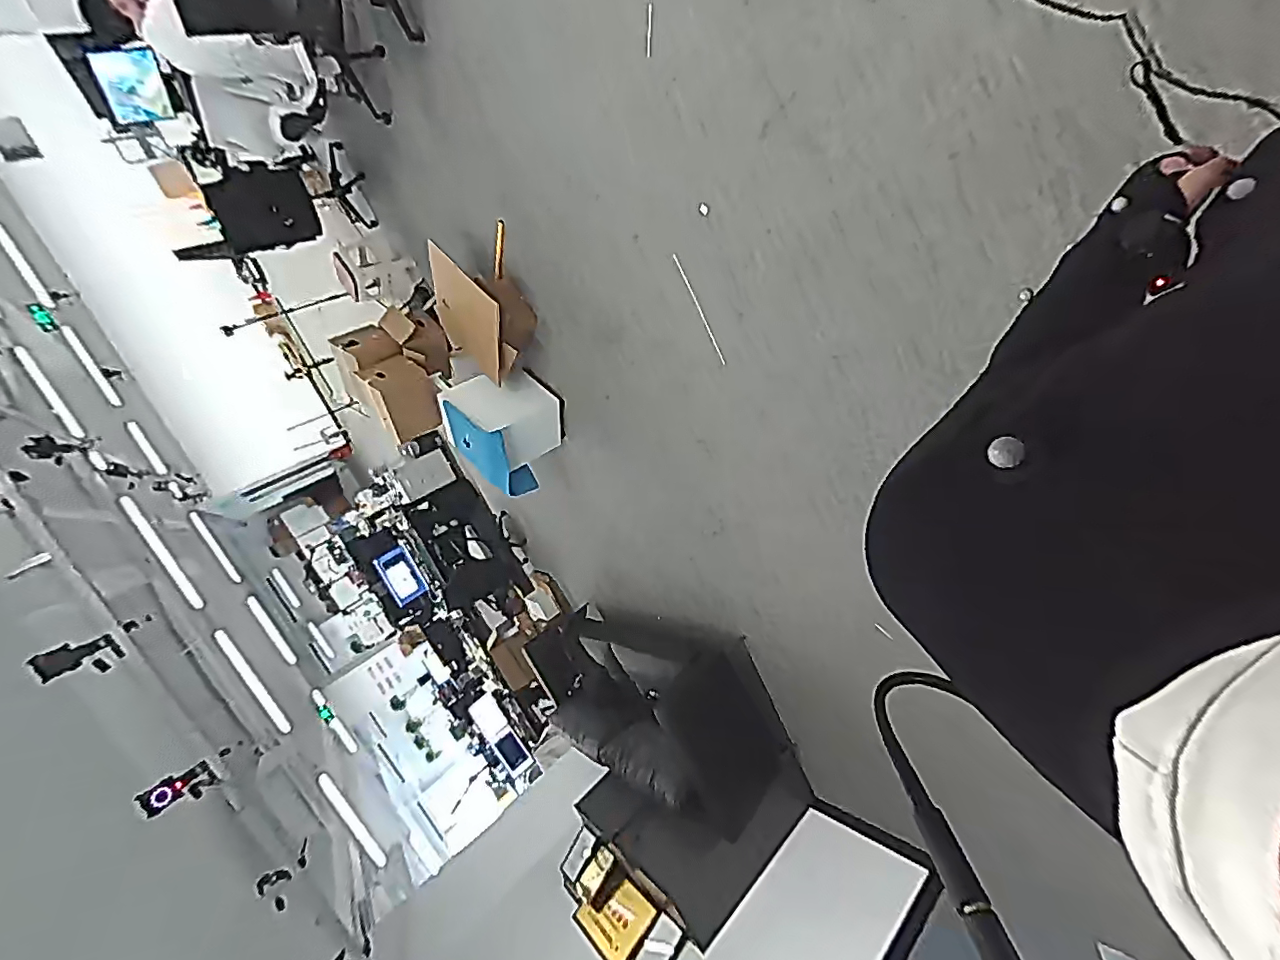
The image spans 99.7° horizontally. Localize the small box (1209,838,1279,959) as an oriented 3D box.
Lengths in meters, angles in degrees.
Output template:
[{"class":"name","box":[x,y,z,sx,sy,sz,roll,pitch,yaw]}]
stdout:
[{"class":"small box","box":[1.127,0.755,0.913,0.179,0.176,0.168,57,150,1]}]
